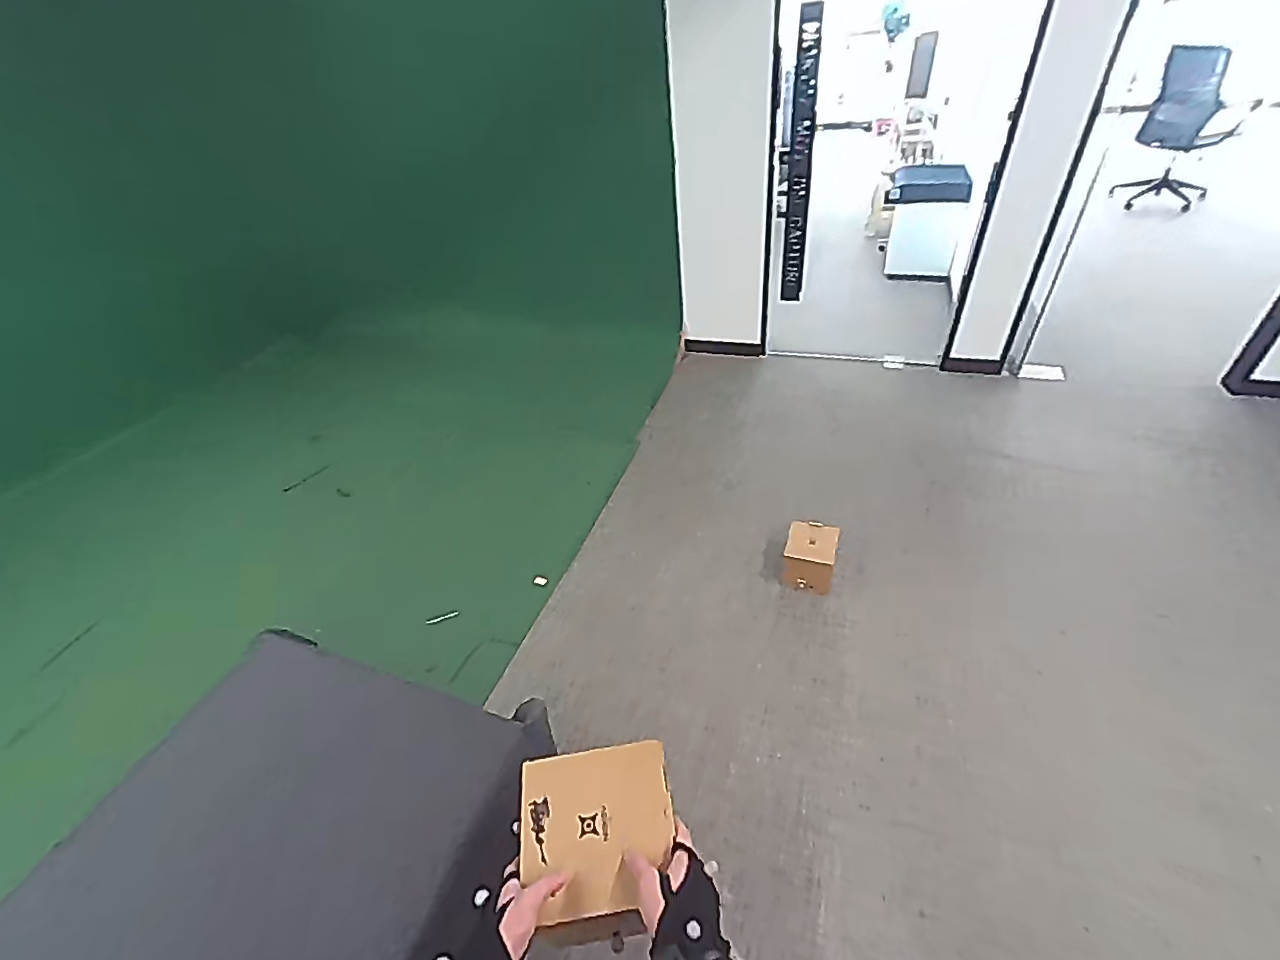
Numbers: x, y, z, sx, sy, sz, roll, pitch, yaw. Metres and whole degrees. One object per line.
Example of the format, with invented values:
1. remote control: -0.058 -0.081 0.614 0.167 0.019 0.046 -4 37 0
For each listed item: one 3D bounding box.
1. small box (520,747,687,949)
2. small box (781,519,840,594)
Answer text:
1. small box: -0.041 0.456 0.670 0.179 0.176 0.168 -8 43 -2
2. small box: 0.594 0.266 1.896 0.168 0.176 0.179 10 44 22
